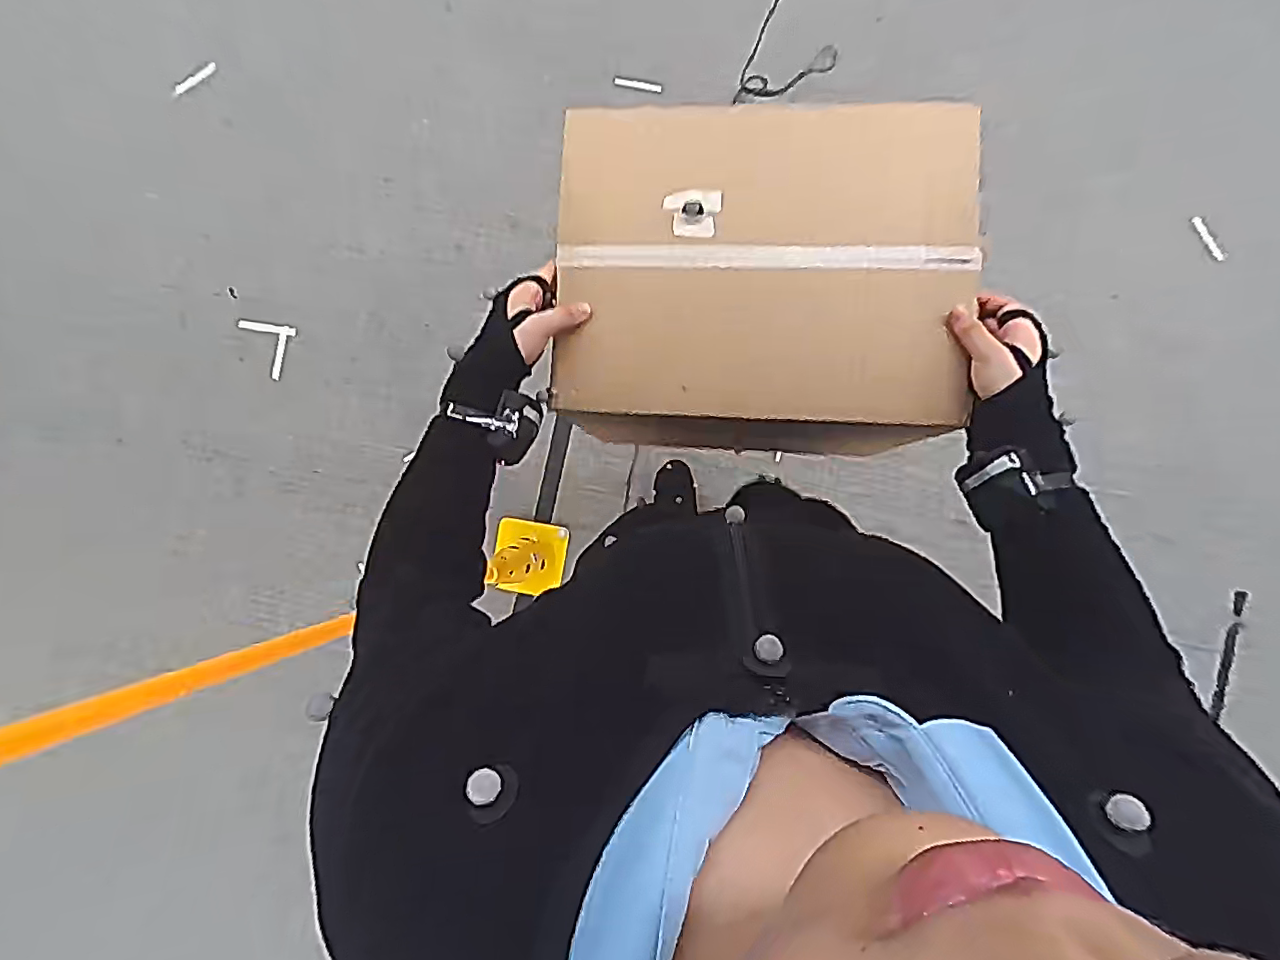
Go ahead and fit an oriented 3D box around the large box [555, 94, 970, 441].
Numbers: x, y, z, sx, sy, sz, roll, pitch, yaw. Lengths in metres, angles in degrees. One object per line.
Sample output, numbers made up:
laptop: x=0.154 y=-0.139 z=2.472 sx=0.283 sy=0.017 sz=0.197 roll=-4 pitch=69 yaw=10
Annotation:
large box: x=0.135 y=-0.219 z=0.685 sx=0.408 sy=0.320 sz=0.320 roll=3 pitch=87 yaw=7
